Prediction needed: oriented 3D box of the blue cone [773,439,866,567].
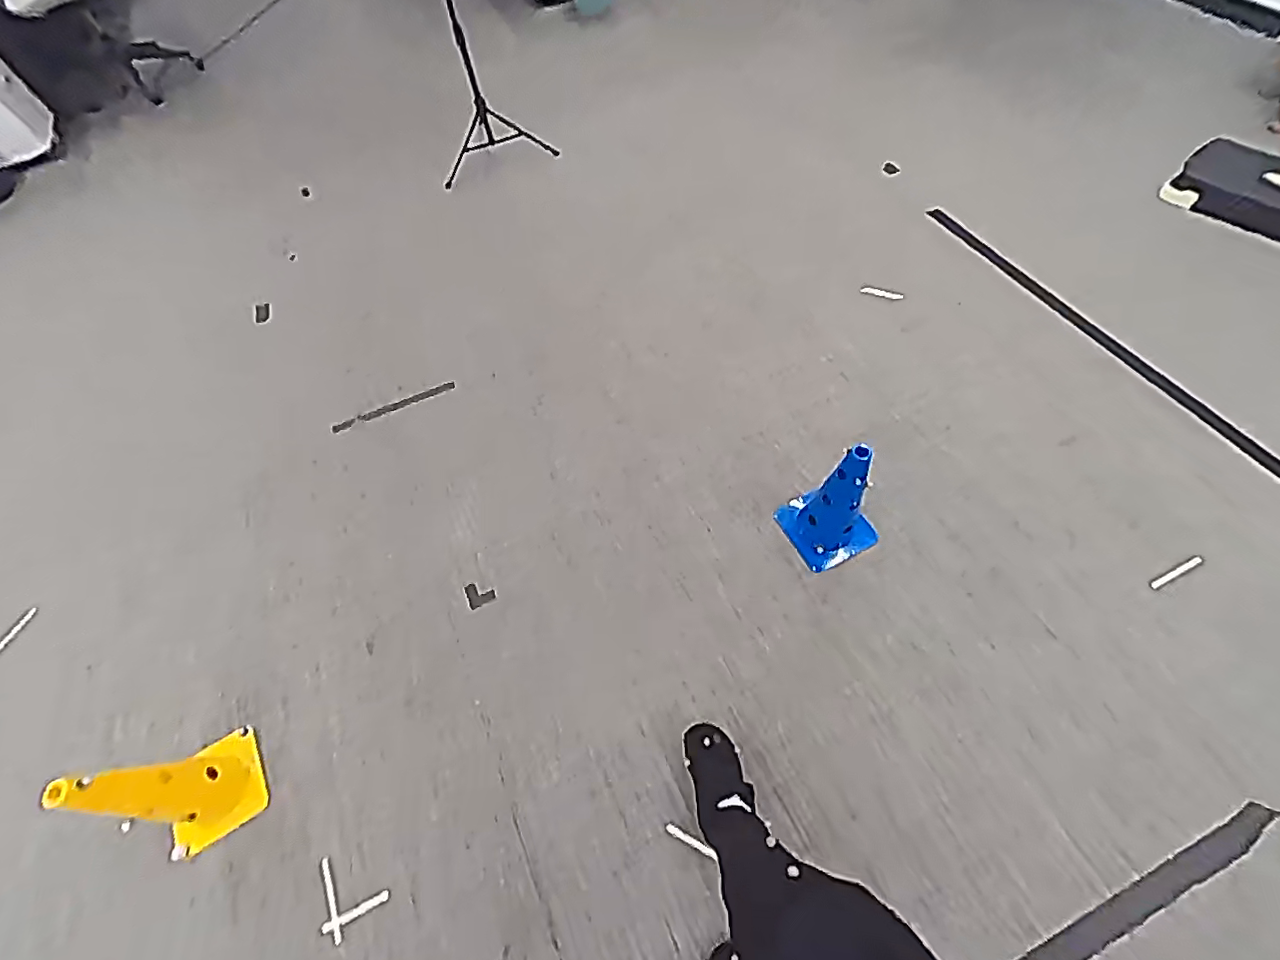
[{"bbox_3d":[0.447,0.035,1.253,0.193,0.380,0.192,-24,59,-8],"label":"blue cone"}]
